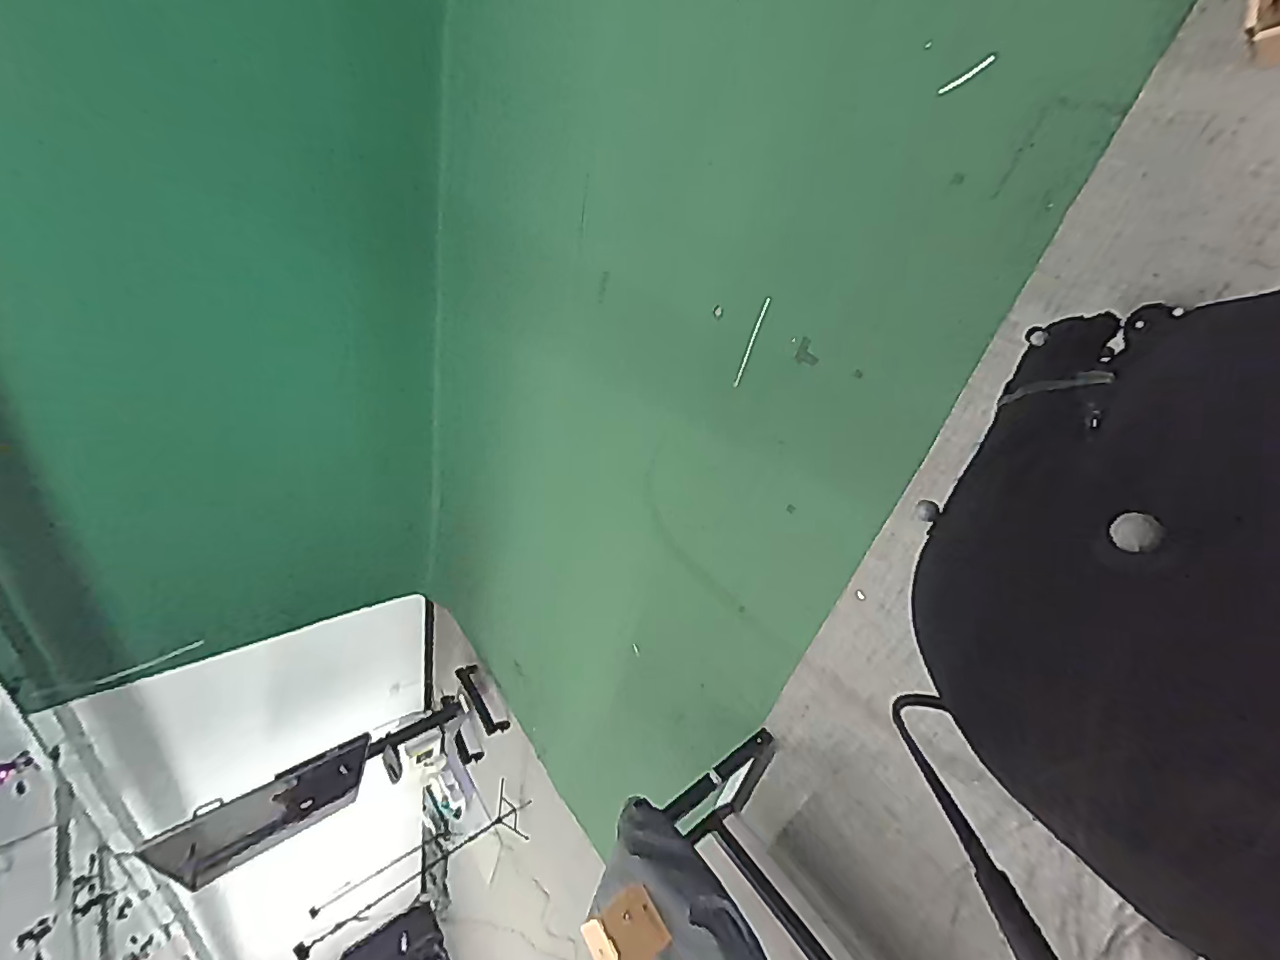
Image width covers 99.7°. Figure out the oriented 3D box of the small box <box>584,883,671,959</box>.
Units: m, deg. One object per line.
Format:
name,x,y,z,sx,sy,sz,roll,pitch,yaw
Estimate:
small box,-0.033,1.320,1.577,0.168,0.176,0.179,52,138,27
